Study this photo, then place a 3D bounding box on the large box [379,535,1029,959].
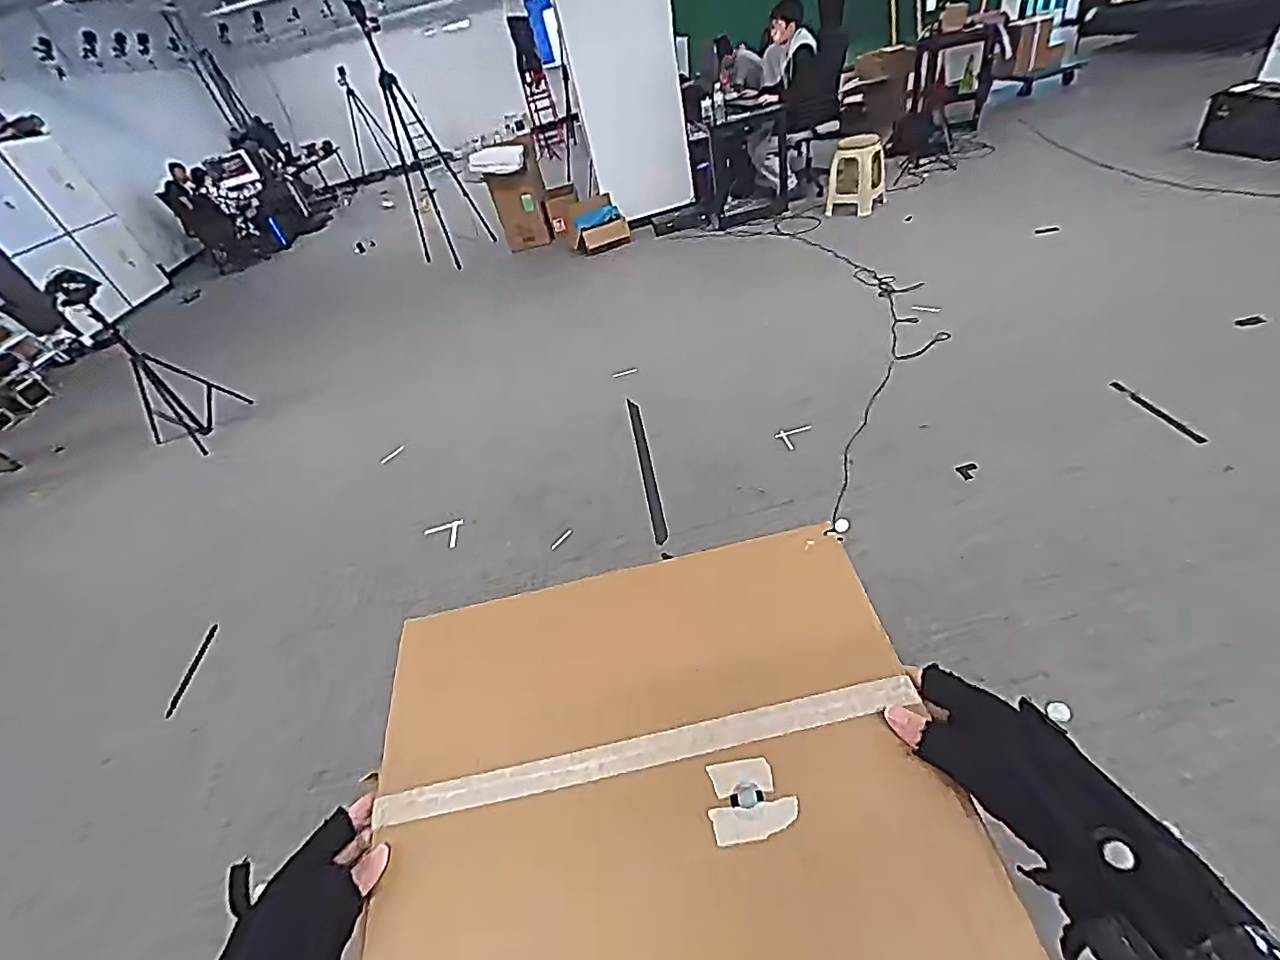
[{"bbox_3d":[0.031,0.305,0.518,0.408,0.320,0.320,-14,49,1],"label":"large box"}]
